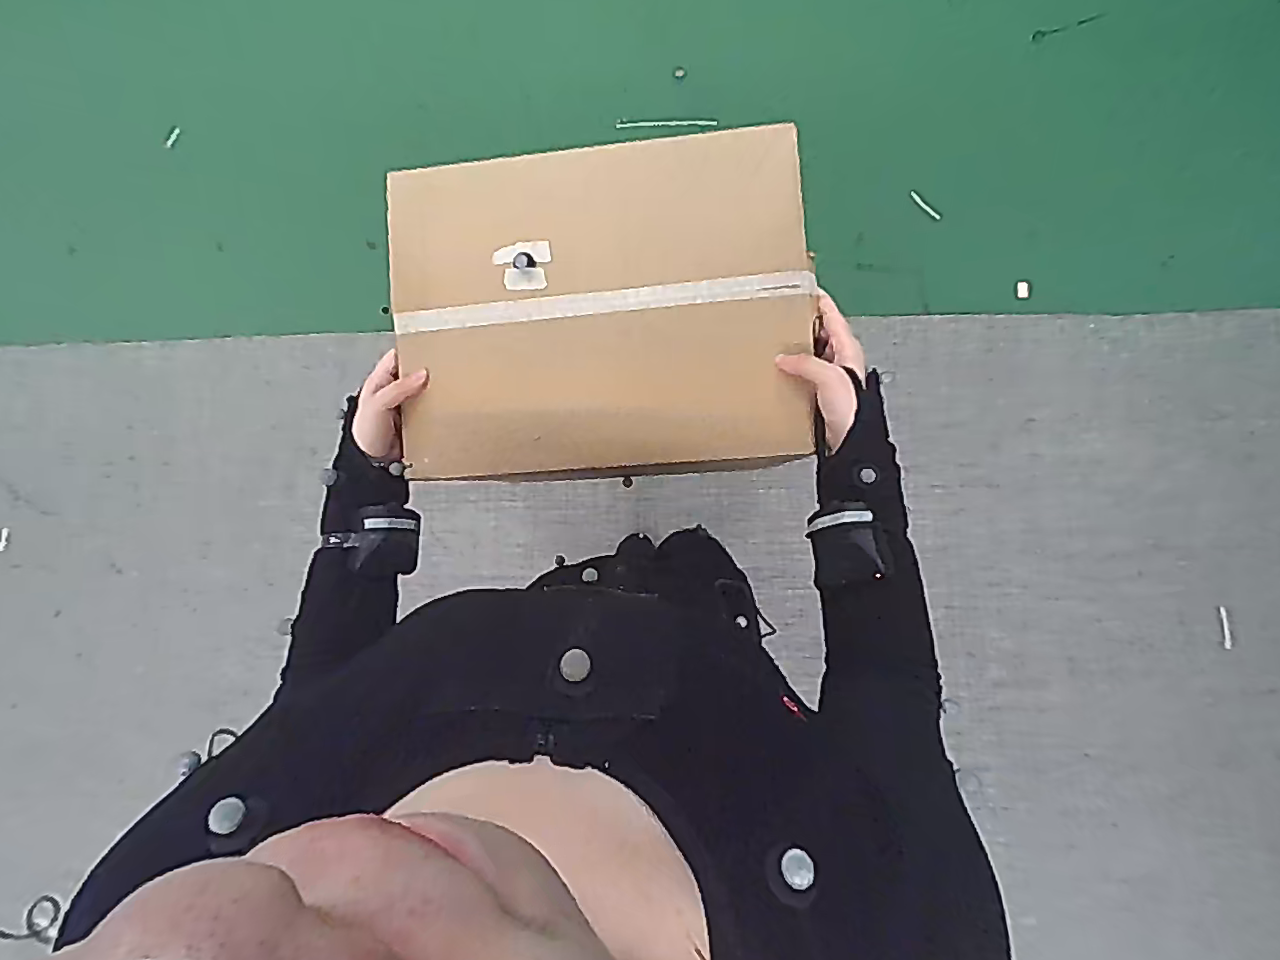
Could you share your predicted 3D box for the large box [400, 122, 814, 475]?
[{"bbox_3d":[-0.022,-0.175,0.683,0.408,0.320,0.320,-4,89,7],"label":"large box"}]
